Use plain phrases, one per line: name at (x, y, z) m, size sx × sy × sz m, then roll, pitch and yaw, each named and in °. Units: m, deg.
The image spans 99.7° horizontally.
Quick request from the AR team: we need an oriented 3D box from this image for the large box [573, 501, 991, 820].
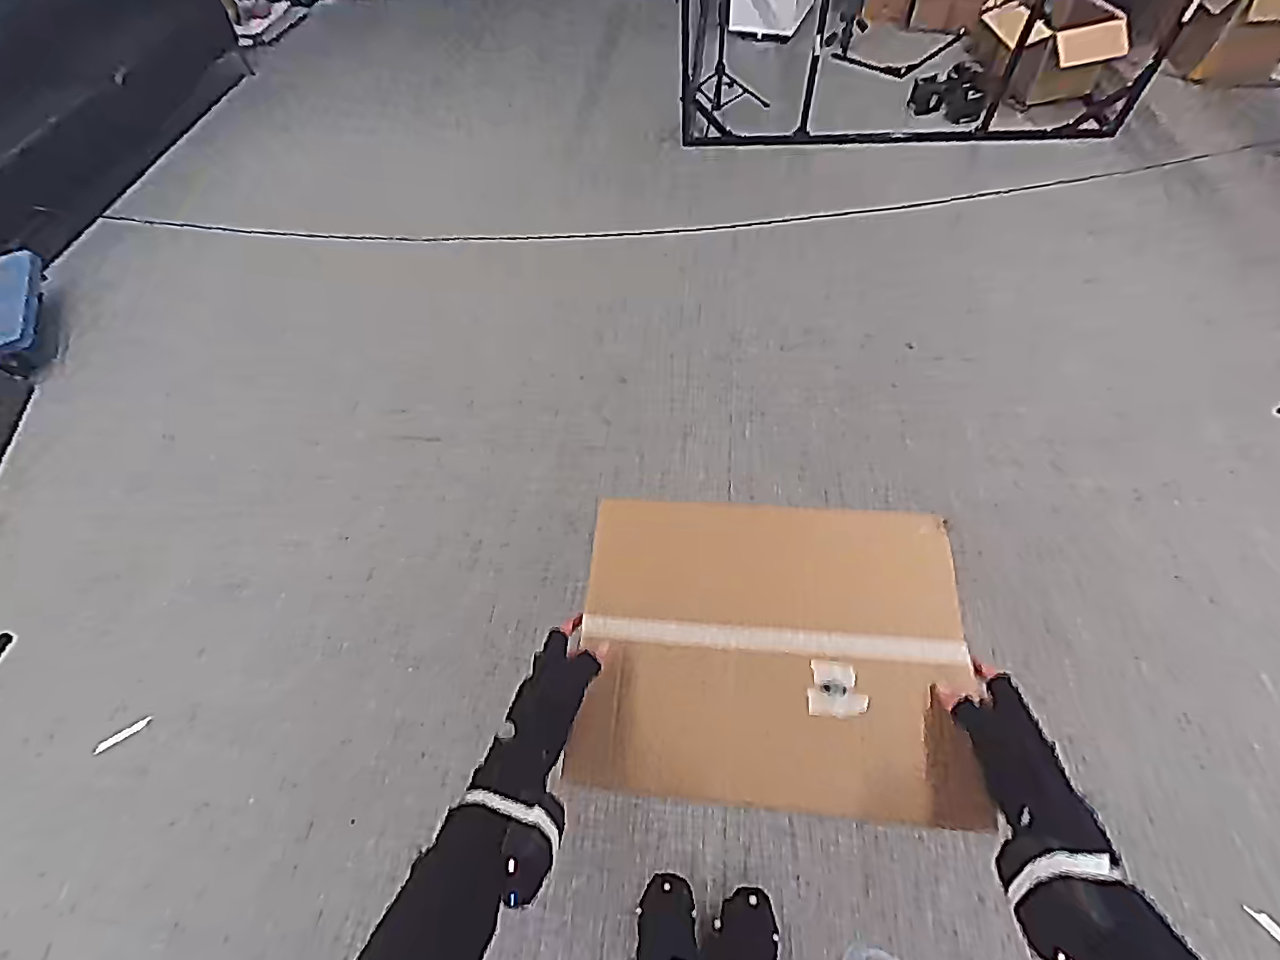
large box at (0.151, 0.237, 0.716) m, size 0.408 × 0.320 × 0.320 m, roll 3°, pitch 64°, yaw 7°
